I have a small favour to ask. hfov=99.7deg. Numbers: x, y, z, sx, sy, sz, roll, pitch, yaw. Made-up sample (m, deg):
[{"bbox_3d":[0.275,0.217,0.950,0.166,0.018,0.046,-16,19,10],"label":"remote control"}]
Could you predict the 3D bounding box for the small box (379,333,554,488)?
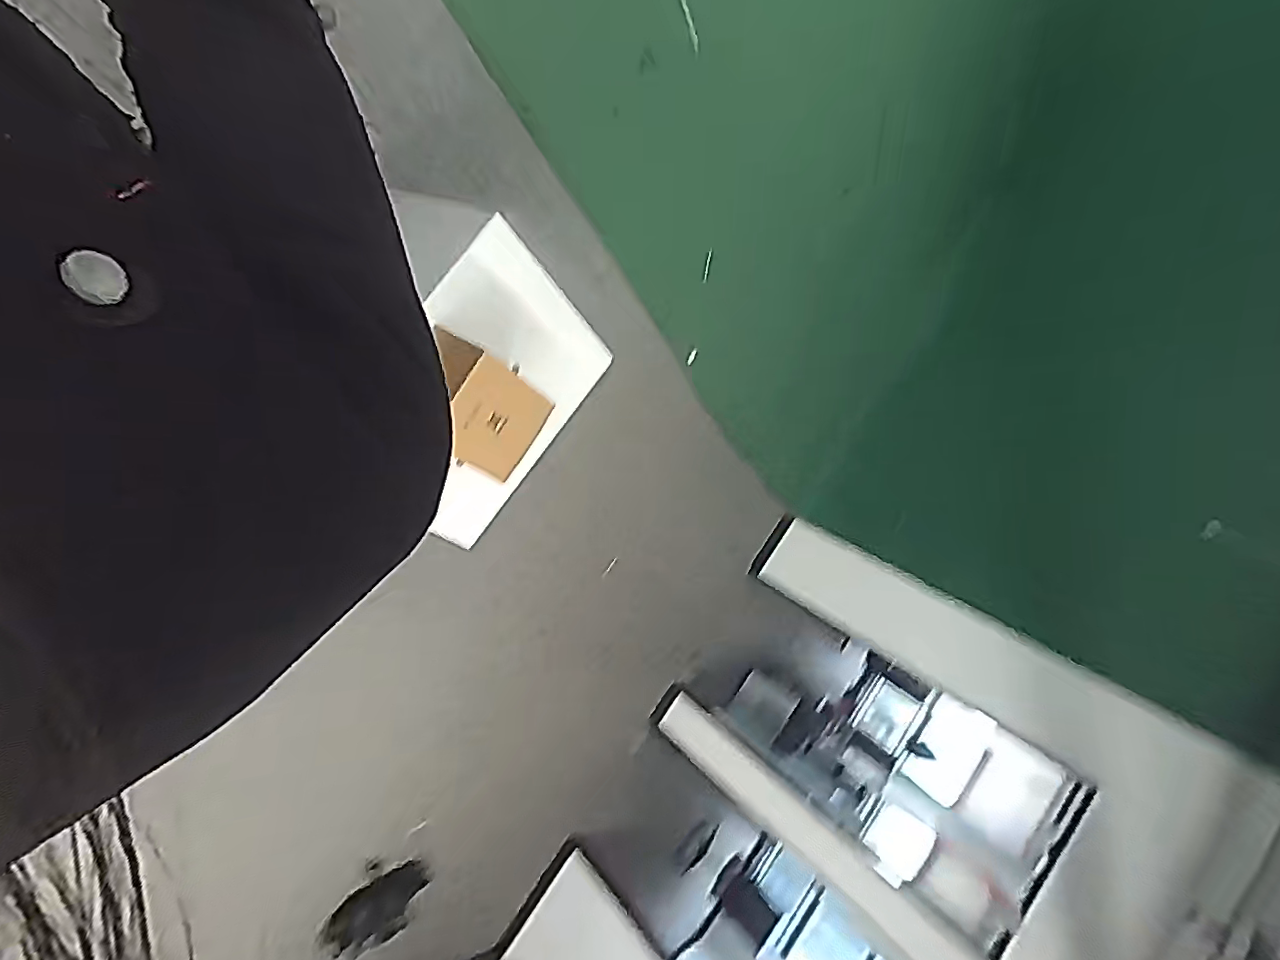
[{"bbox_3d":[-0.283,-0.116,0.884,0.168,0.176,0.179,-57,142,-3],"label":"small box"}]
